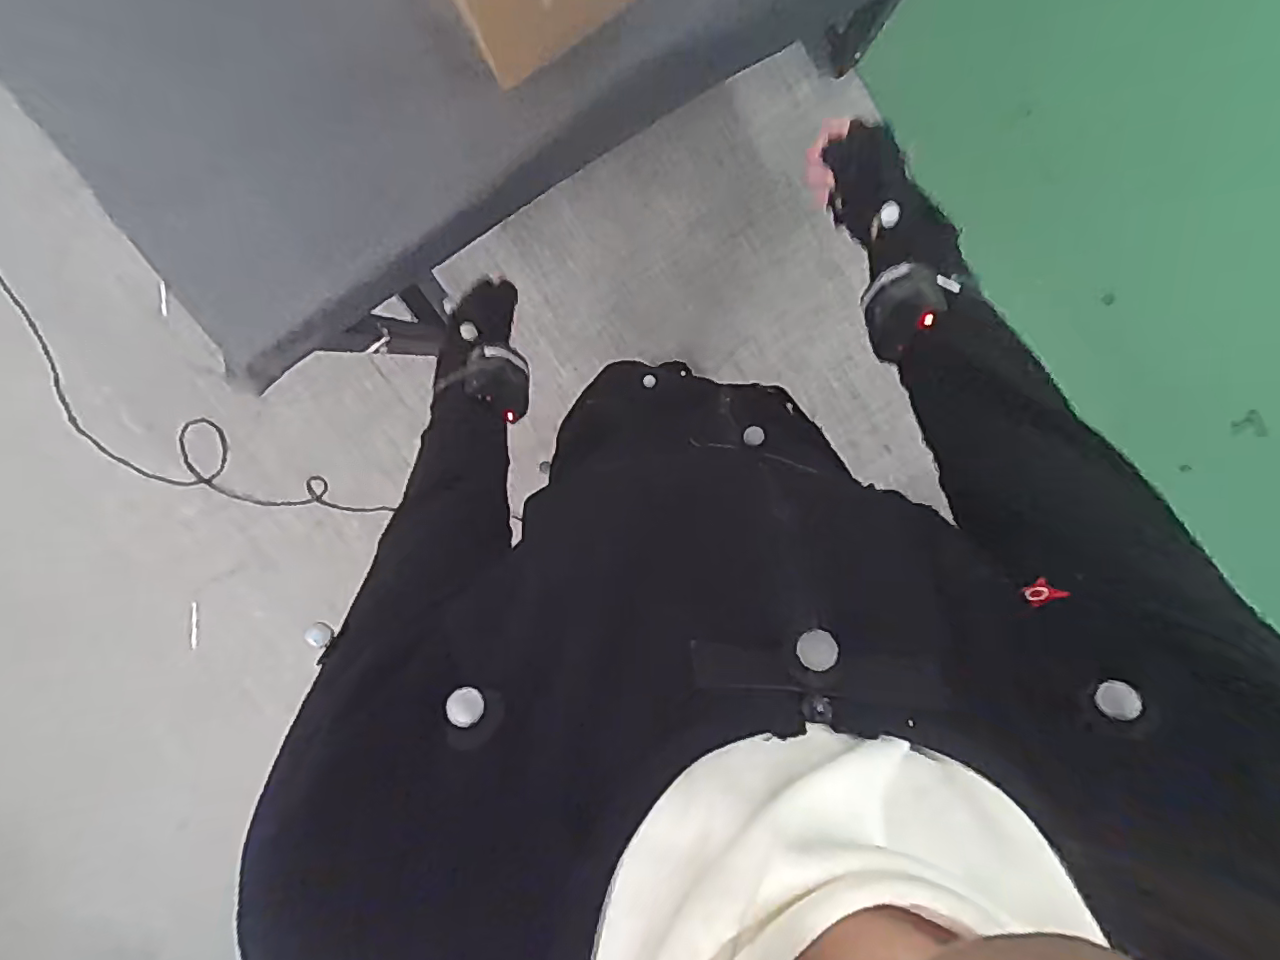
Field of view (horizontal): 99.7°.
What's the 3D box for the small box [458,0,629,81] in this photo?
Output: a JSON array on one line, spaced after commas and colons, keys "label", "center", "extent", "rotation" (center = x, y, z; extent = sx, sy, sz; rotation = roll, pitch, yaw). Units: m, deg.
[{"label": "small box", "center": [-0.115, -0.528, 0.501], "extent": [0.179, 0.176, 0.168], "rotation": [-30, 99, 7]}]
